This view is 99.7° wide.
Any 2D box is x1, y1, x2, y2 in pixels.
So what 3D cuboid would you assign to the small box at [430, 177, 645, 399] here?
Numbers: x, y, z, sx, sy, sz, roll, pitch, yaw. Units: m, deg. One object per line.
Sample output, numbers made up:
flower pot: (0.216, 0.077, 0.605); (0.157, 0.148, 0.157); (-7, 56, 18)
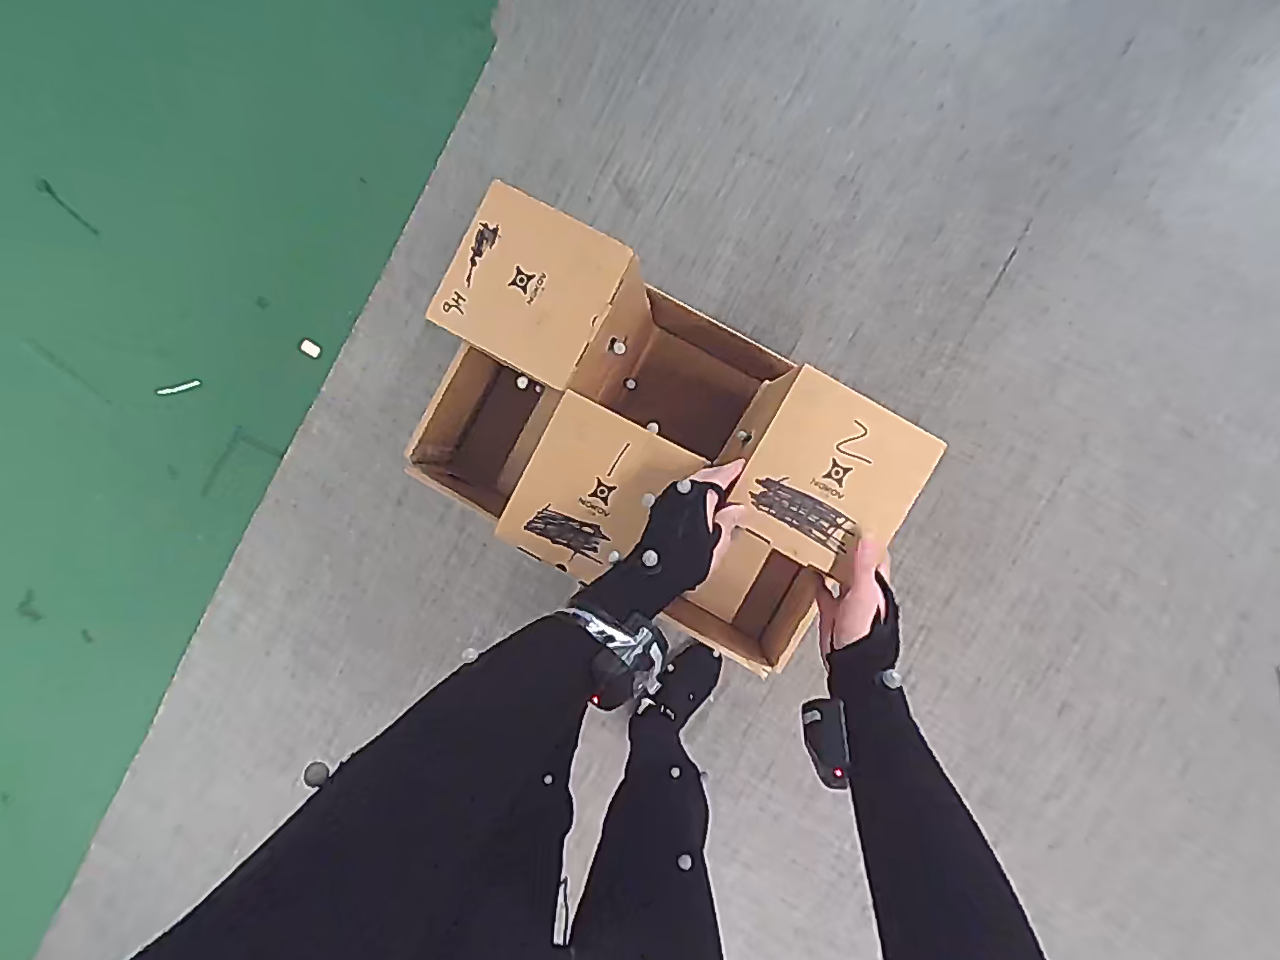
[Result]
small box: (-0.105, -0.209, 0.646); (0.179, 0.176, 0.168); (30, 93, 3)
